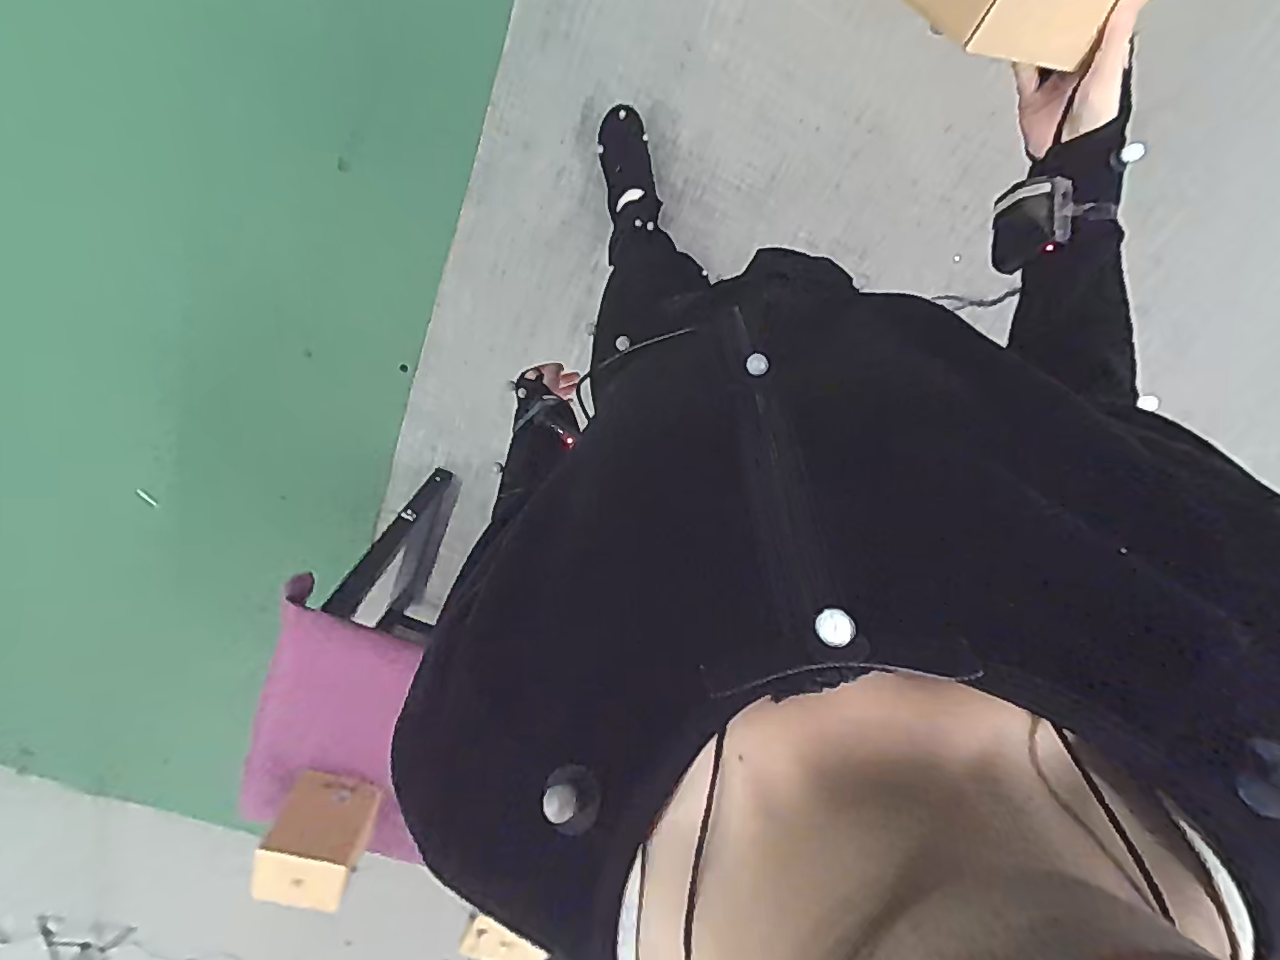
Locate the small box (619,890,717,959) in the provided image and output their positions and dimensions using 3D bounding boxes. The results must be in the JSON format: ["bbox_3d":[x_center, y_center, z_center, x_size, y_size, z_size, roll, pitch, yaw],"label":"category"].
[{"bbox_3d":[0.066,1.093,1.248,0.179,0.176,0.168,35,111,-13],"label":"small box"}]

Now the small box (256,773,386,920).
[{"bbox_3d":[-0.641,0.740,1.099,0.168,0.176,0.179,18,114,-9],"label":"small box"}]

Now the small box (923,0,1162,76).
[{"bbox_3d":[0.283,-0.418,0.359,0.168,0.176,0.179,-14,154,-26],"label":"small box"}]
